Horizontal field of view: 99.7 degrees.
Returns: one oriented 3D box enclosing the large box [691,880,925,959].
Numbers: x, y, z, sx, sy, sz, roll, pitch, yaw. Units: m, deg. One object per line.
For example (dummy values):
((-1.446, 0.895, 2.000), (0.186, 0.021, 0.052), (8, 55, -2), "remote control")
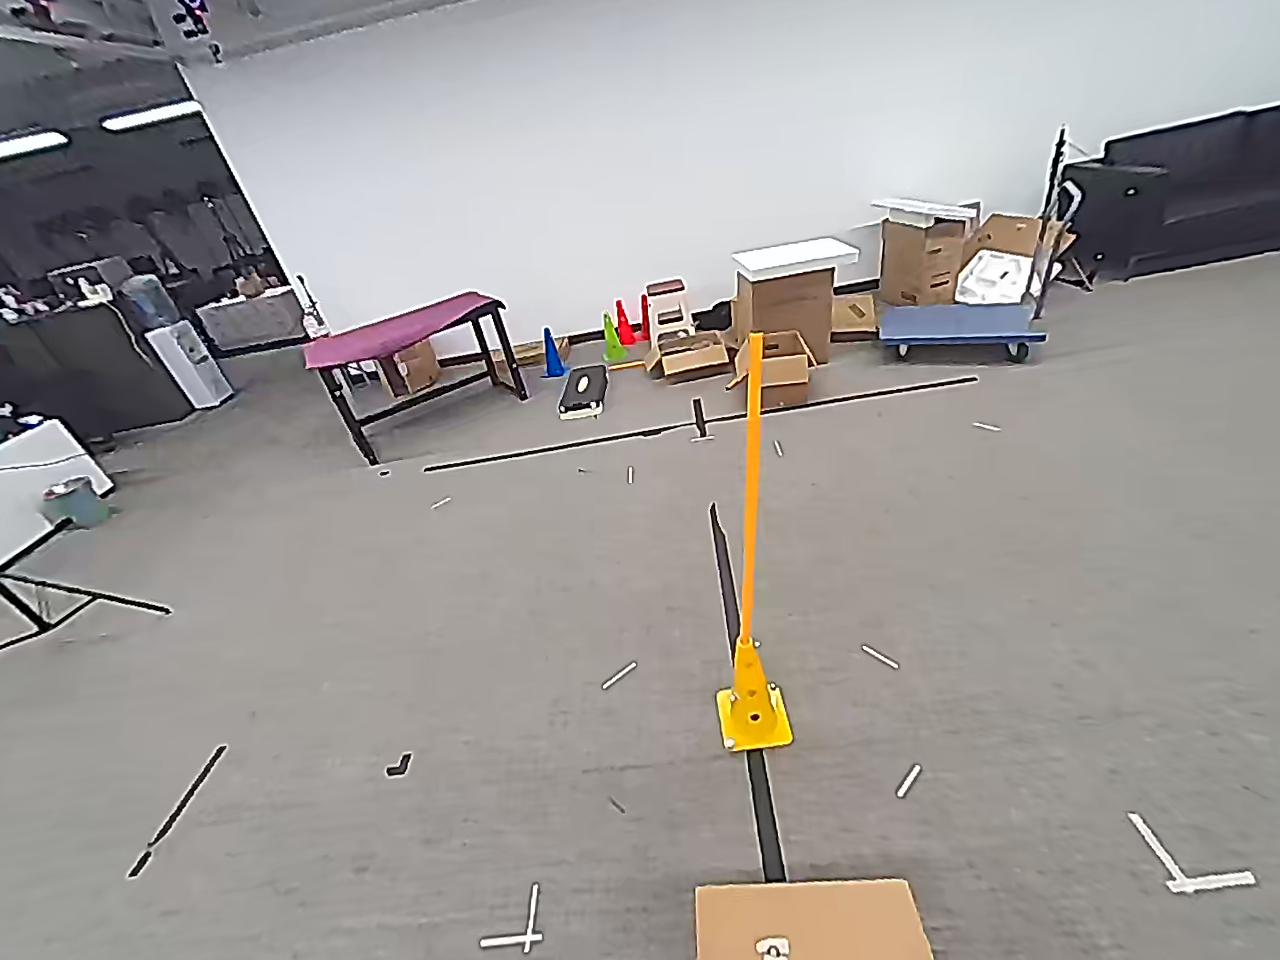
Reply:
((0.320, 0.992, 0.991), (0.408, 0.320, 0.320), (-8, 30, 6), "large box")
